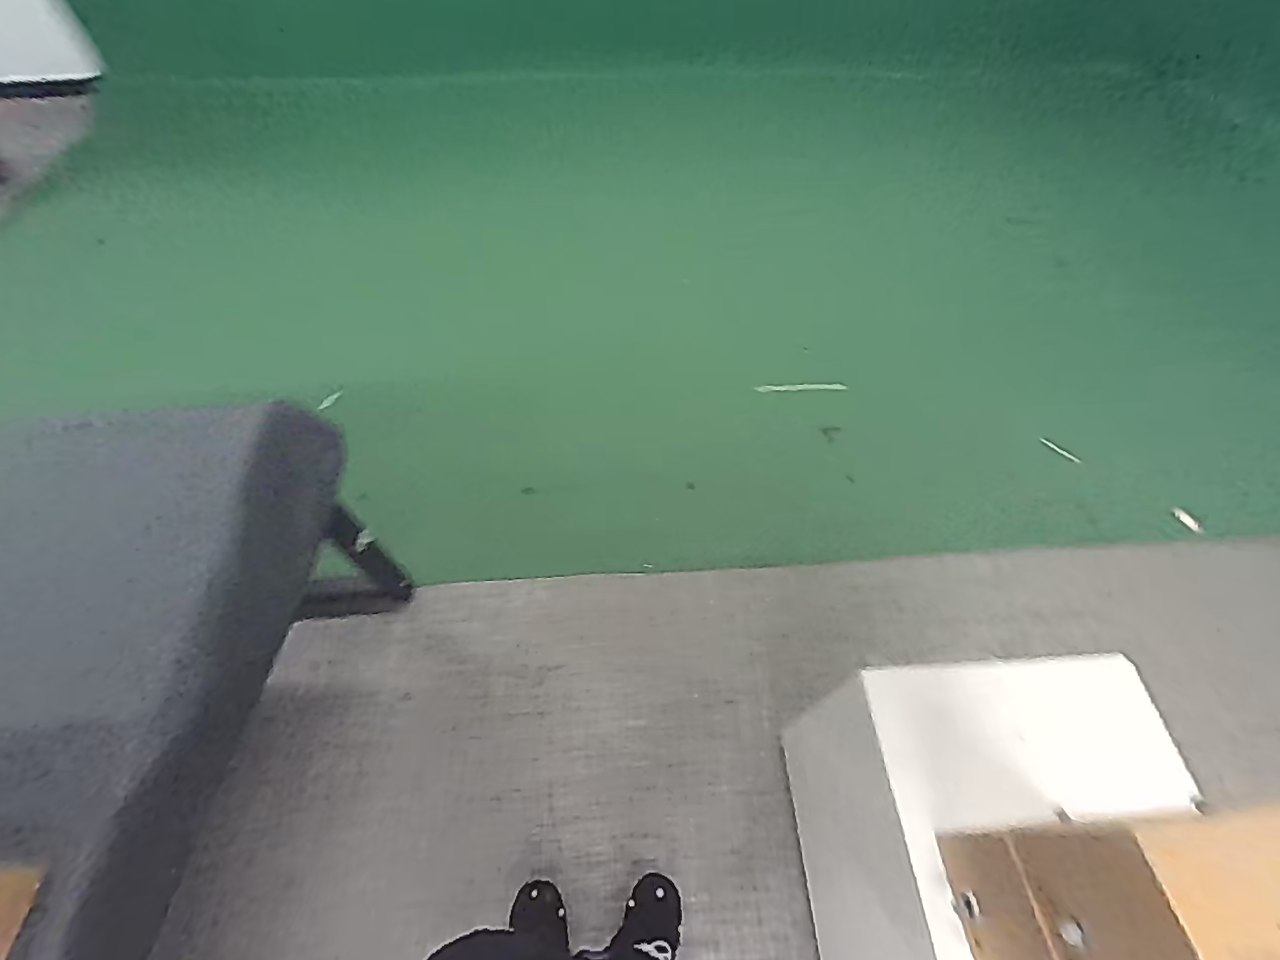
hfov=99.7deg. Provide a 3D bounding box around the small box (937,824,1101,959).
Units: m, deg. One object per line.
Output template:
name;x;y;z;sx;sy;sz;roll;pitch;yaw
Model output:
small box;0.452;0.460;0.560;0.179;0.176;0.168;-5;56;-1

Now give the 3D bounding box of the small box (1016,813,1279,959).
small box;0.457;0.367;0.424;0.179;0.176;0.168;-6;57;-5
